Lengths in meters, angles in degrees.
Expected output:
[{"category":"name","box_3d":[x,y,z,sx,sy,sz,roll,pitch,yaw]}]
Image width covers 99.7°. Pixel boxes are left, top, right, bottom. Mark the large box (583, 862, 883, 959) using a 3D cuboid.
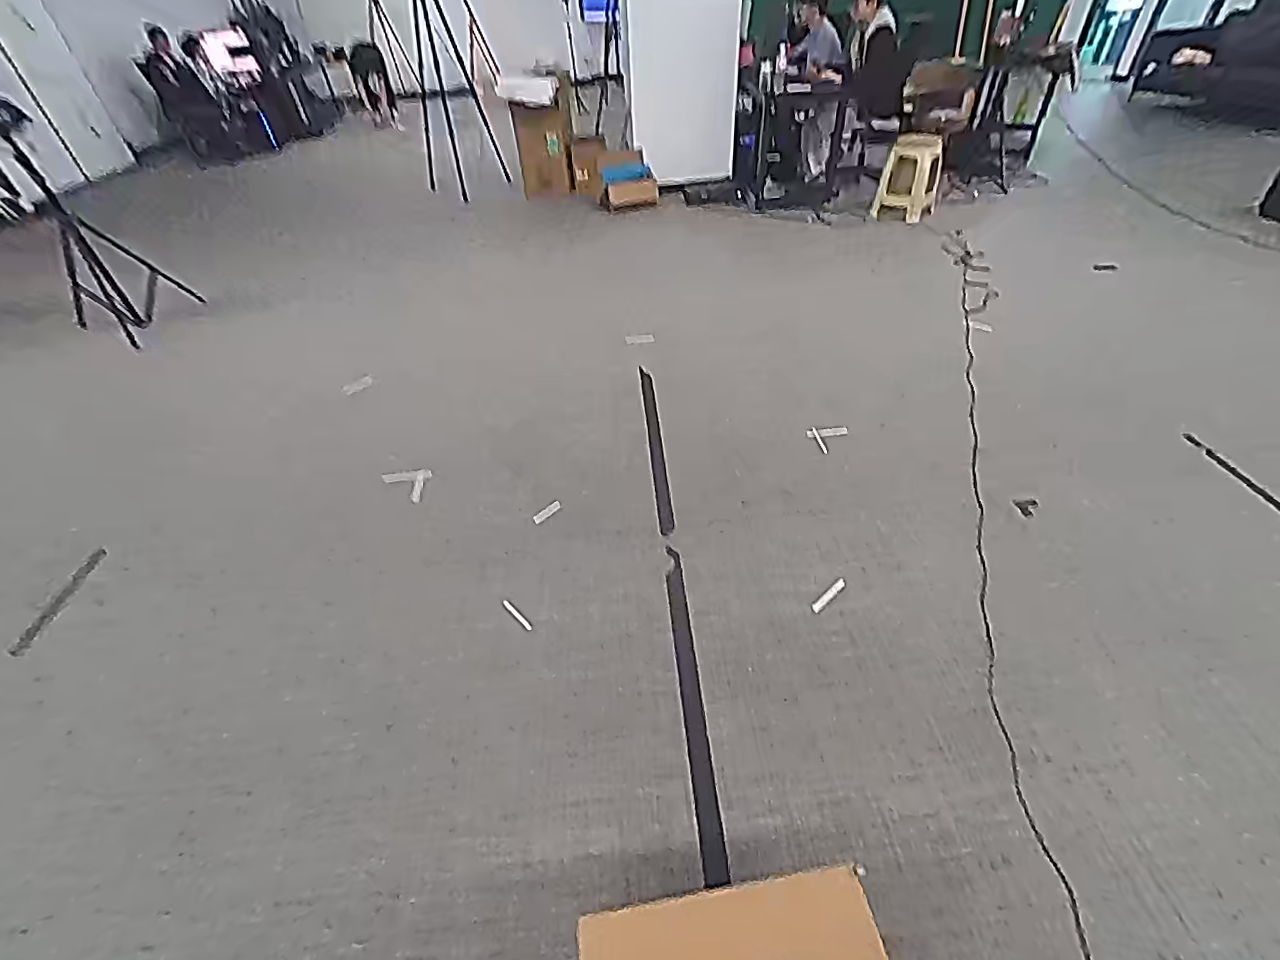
[{"category":"large box","box_3d":[0.145,0.811,0.774,0.408,0.320,0.320,-8,42,-4]}]
